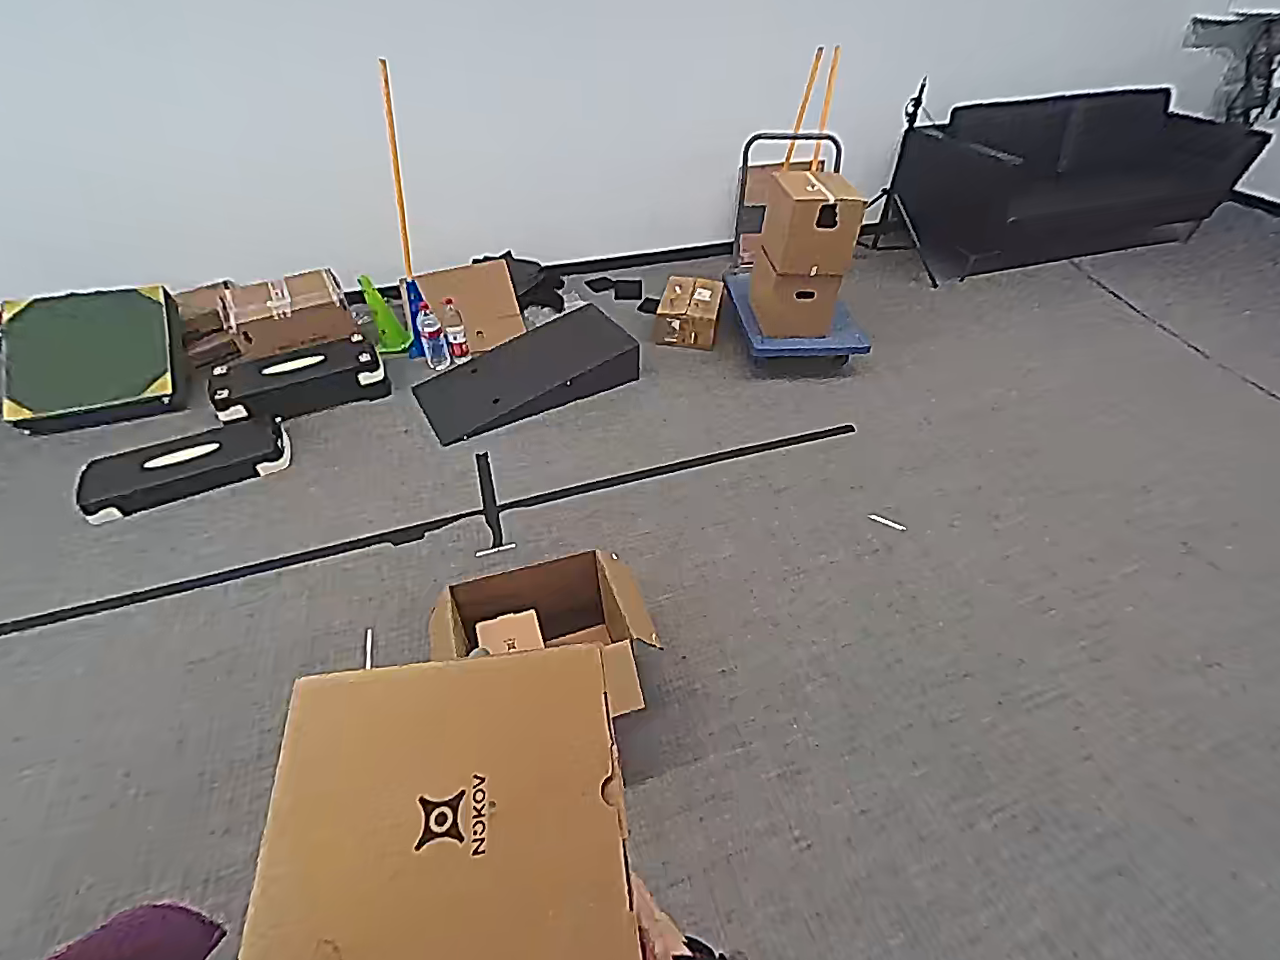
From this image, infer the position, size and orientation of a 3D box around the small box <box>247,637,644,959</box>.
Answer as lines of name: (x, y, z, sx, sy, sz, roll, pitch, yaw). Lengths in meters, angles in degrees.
small box: (-0.102, 0.216, 0.340, 0.179, 0.176, 0.168, -3, 53, -11)
